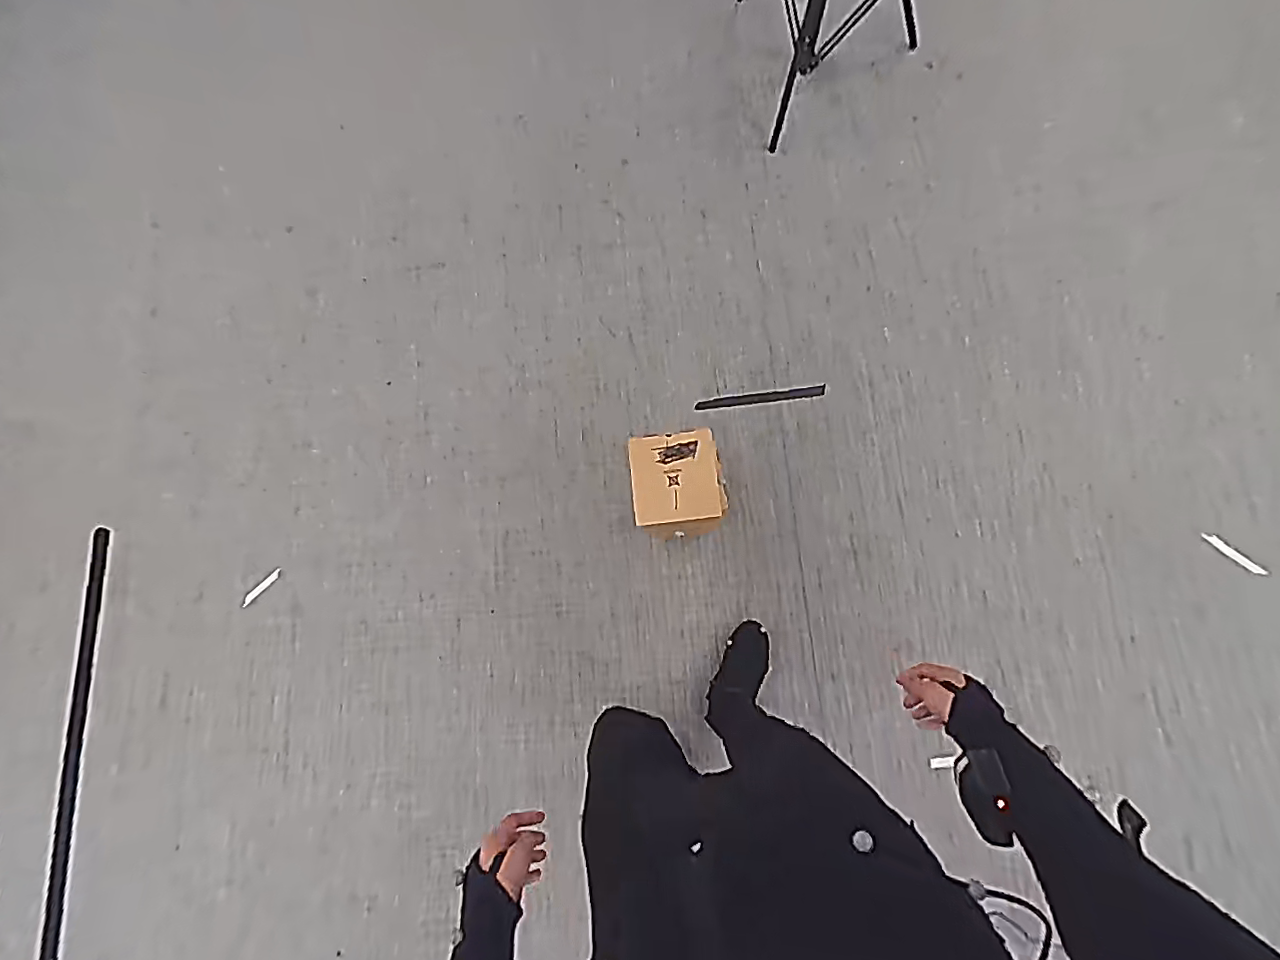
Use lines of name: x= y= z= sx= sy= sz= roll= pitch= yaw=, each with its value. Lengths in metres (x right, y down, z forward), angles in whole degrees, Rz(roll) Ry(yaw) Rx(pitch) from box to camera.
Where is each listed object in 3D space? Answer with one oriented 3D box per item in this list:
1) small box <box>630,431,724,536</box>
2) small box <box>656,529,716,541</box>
small box: x=0.076 y=0.014 z=1.102 sx=0.168 sy=0.176 sz=0.179 roll=-7 pitch=79 yaw=5
small box: x=0.107 y=0.059 z=1.426 sx=0.168 sy=0.176 sz=0.179 roll=-9 pitch=78 yaw=4
